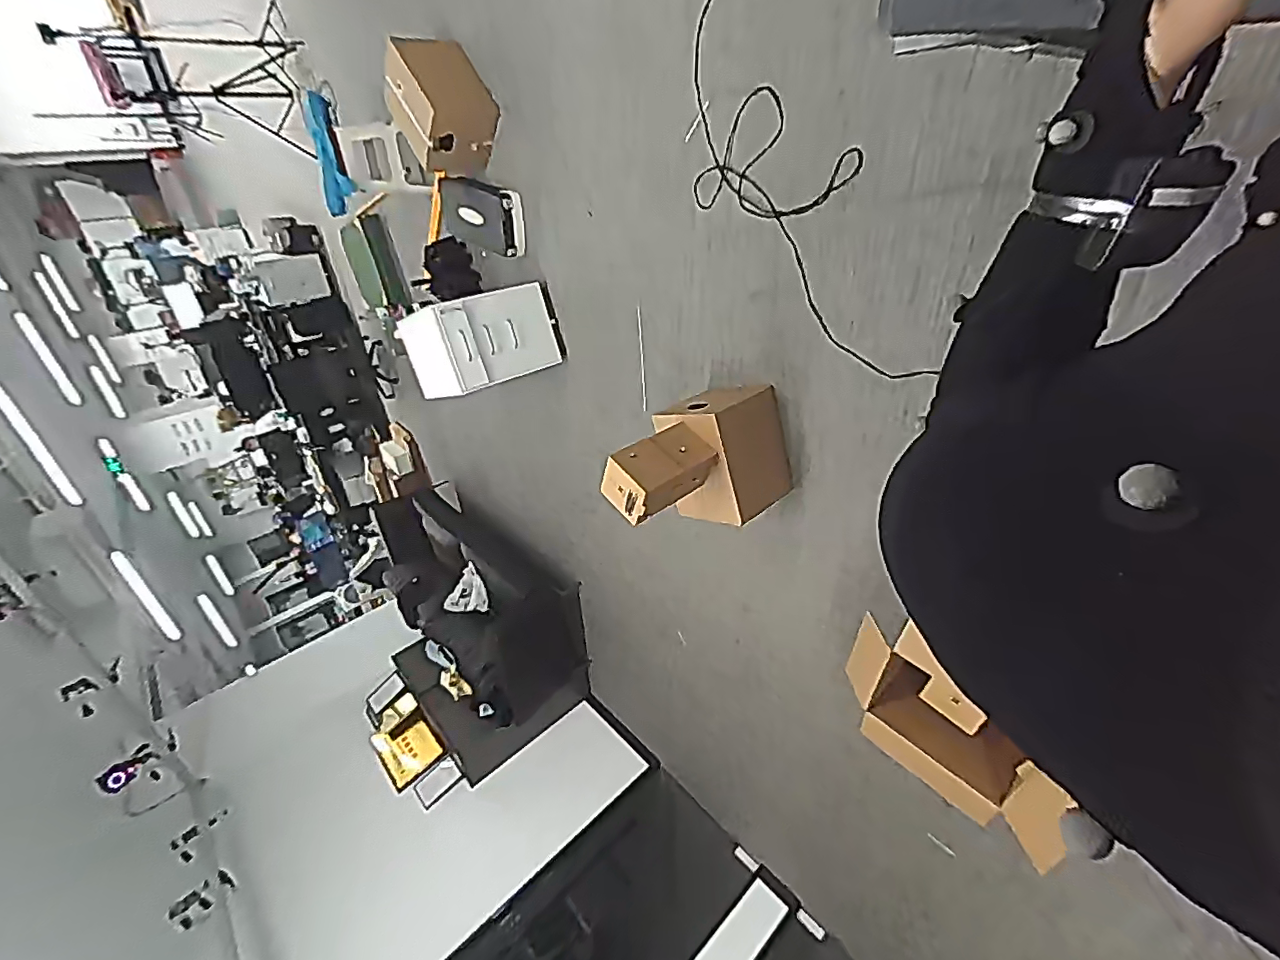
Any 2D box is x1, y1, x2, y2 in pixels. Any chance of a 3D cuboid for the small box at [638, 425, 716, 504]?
[{"bbox_3d":[0.123,-0.058,1.797,0.179,0.176,0.168,43,141,22],"label":"small box"}]
